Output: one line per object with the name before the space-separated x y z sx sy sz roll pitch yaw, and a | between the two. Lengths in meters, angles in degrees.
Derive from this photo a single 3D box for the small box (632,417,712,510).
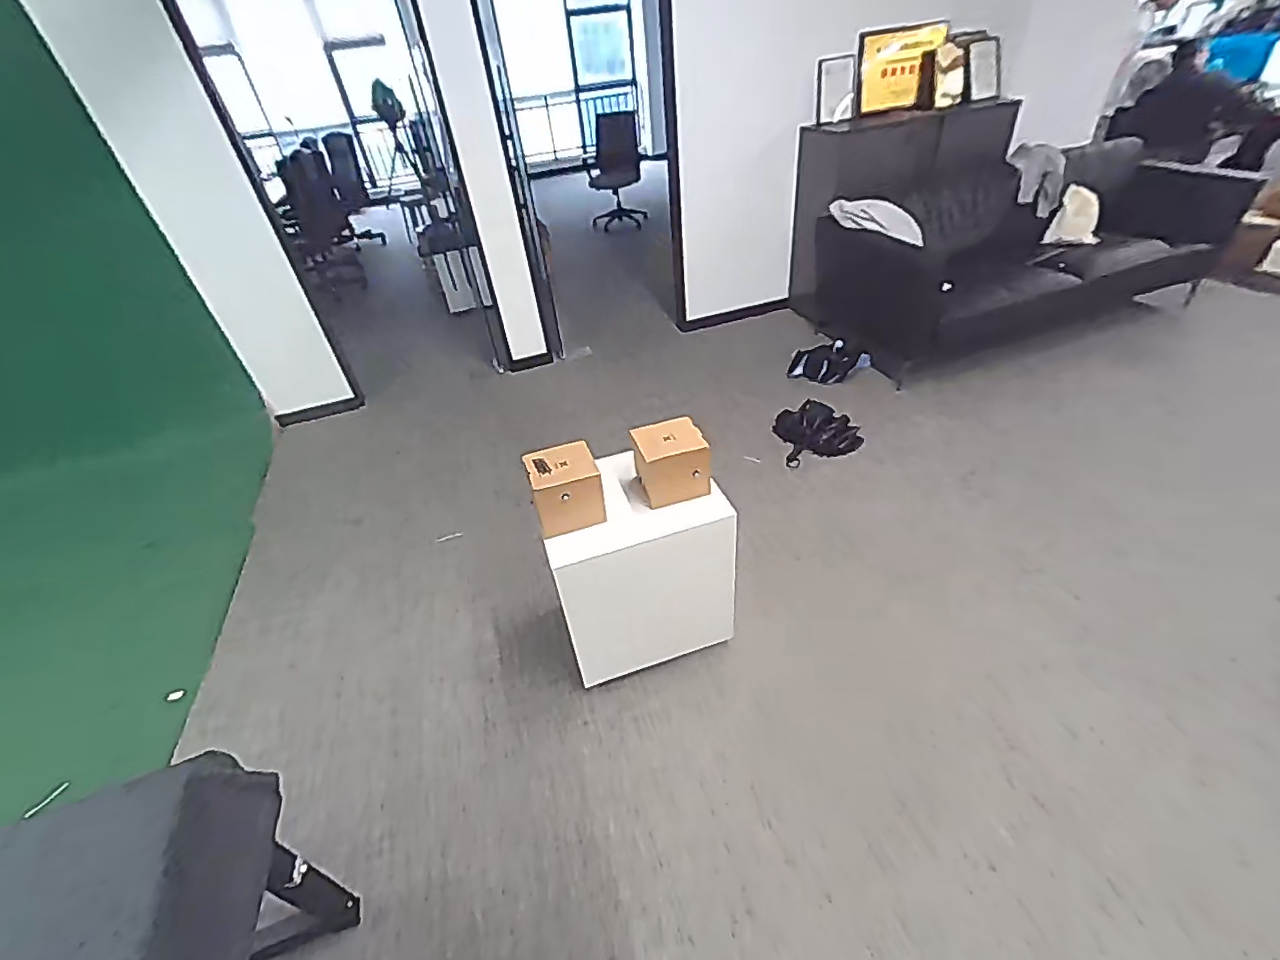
small box | 0.090 -0.045 1.494 0.179 0.176 0.168 -16 38 -9

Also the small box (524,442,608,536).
small box | -0.195 0.026 1.443 0.179 0.176 0.168 -15 39 -13
